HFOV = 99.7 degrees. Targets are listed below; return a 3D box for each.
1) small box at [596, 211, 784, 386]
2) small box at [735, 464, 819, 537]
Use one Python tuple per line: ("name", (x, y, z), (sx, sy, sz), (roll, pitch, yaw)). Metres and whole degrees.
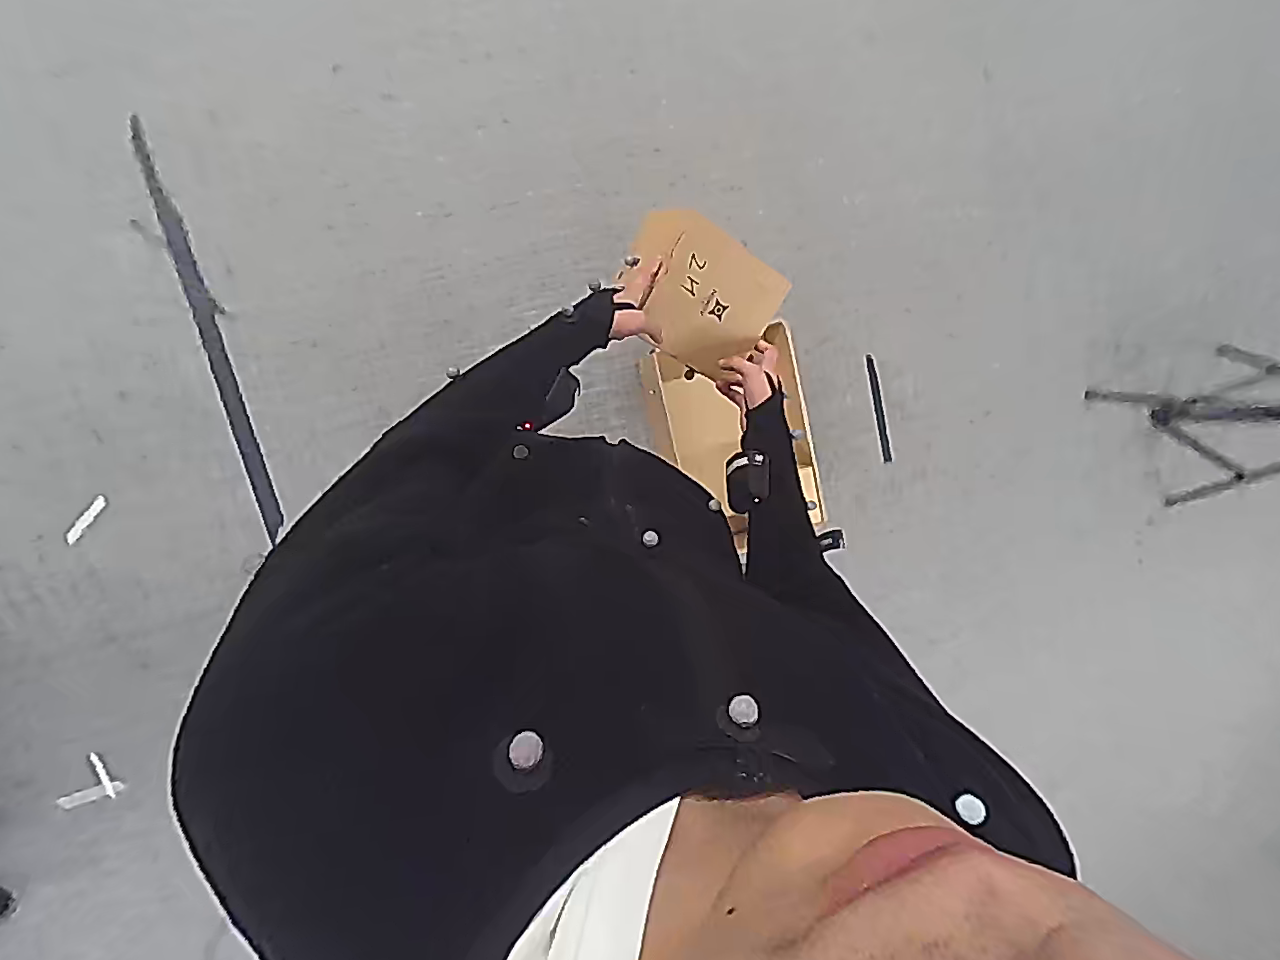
("small box", (0.062, -0.262, 0.775), (0.179, 0.176, 0.168), (23, 104, -27))
("small box", (0.404, 0.055, 1.607), (0.179, 0.176, 0.168), (-14, 99, -7))
